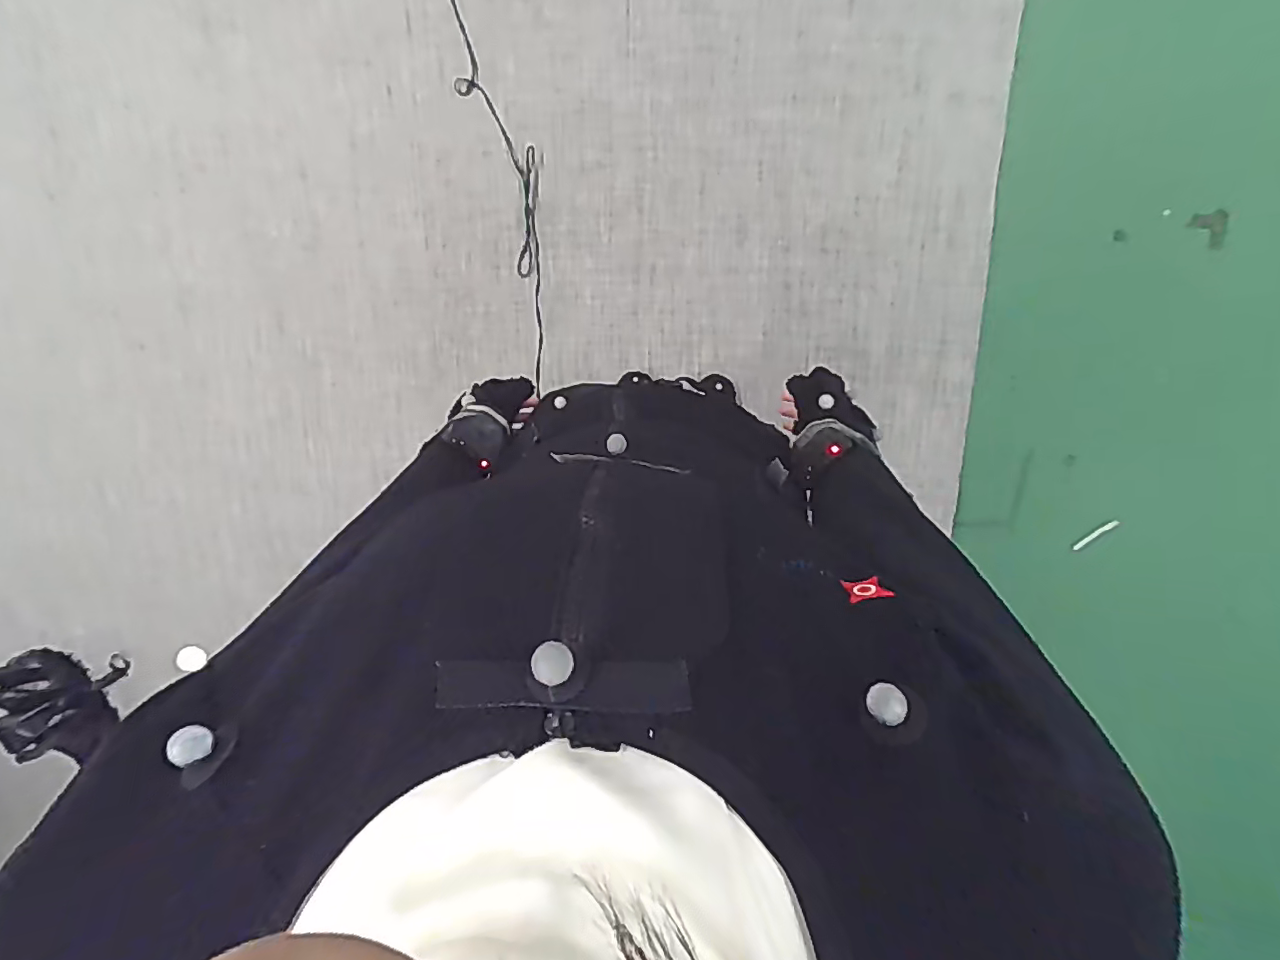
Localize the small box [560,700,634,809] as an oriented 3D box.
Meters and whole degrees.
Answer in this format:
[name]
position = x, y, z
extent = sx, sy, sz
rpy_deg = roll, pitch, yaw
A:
[small box]
position = -0.104, 0.686, 1.362
extent = 0.168, 0.176, 0.179
rpy_deg = 3, 102, 3
